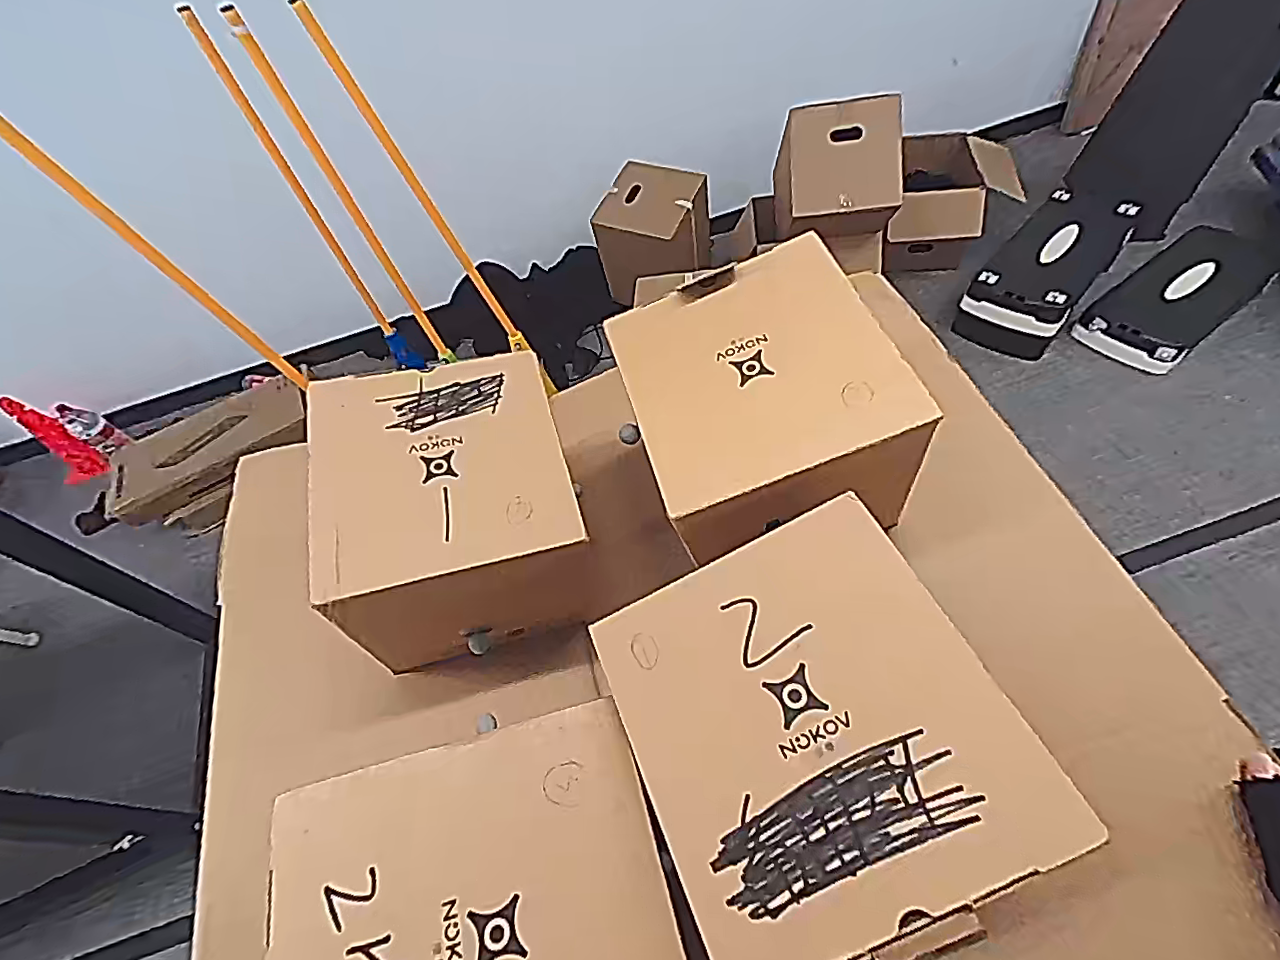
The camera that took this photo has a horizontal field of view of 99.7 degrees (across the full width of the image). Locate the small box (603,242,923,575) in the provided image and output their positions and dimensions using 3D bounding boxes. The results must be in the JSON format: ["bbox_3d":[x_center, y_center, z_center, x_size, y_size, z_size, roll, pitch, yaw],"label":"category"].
[{"bbox_3d":[0.090,-0.039,0.428,0.168,0.176,0.179,-22,59,6],"label":"small box"}]
